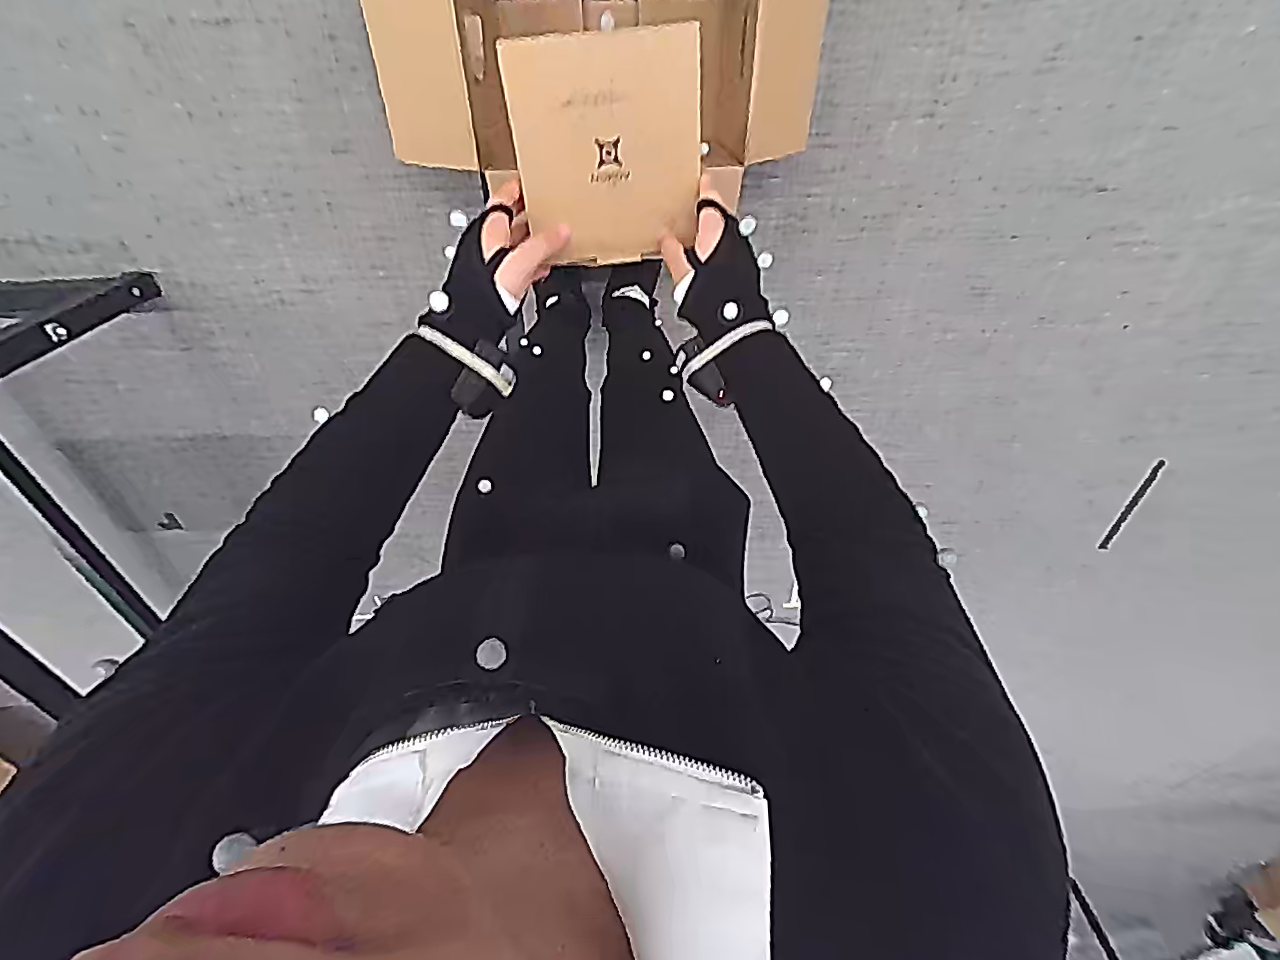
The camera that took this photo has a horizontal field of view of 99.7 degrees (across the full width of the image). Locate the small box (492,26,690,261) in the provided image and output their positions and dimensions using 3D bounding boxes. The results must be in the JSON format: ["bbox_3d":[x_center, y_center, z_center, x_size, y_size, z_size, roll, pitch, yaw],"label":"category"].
[{"bbox_3d":[-0.040,-0.345,0.556,0.168,0.176,0.179,-6,127,-1],"label":"small box"}]
